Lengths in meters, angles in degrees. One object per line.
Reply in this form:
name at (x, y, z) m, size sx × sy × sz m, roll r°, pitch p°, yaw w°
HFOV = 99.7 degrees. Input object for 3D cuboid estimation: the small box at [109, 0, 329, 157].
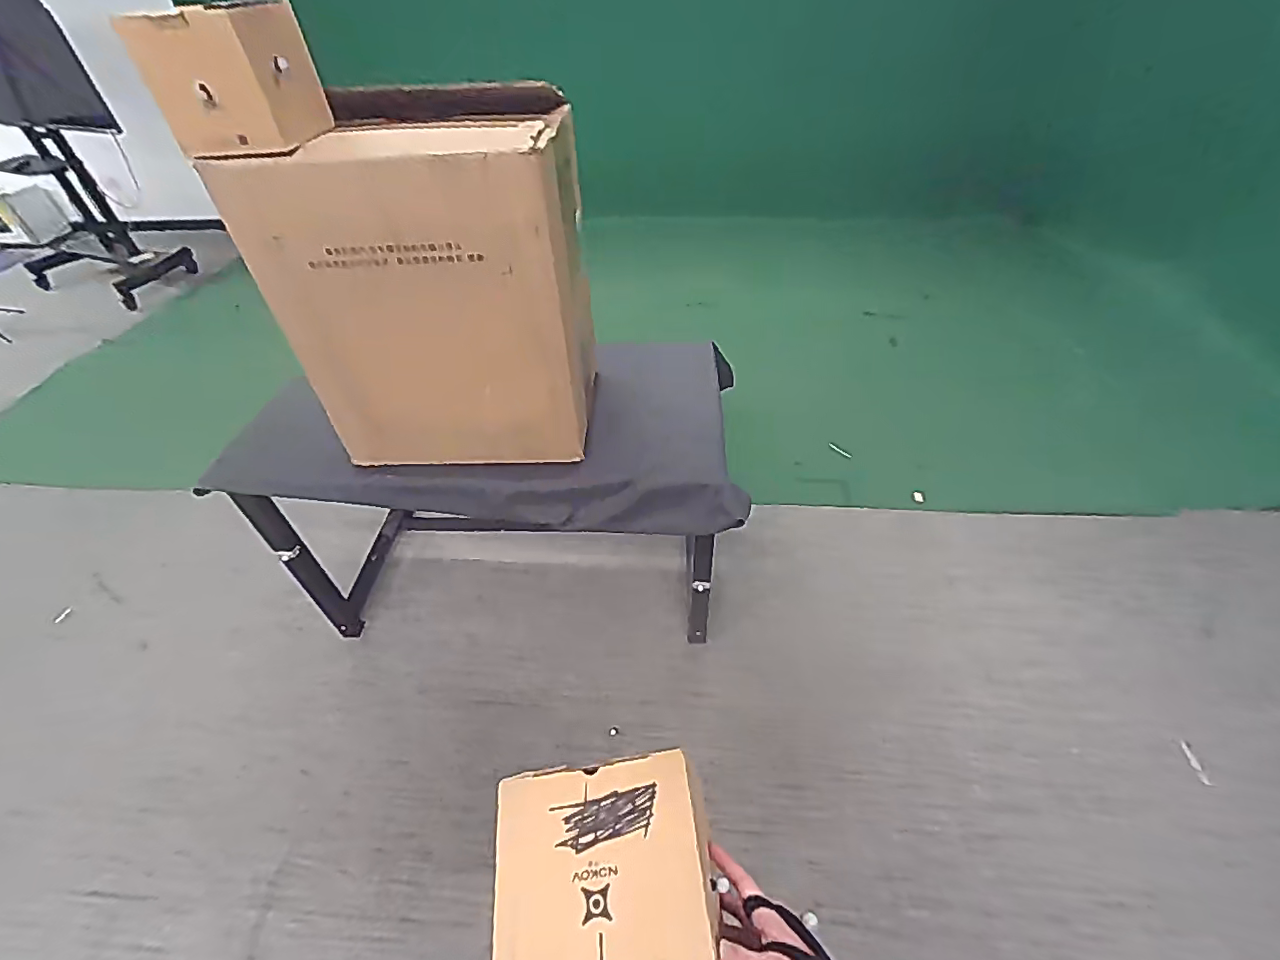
small box at (-0.613, -0.604, 0.821) m, size 0.168 × 0.176 × 0.179 m, roll -2°, pitch 45°, yaw 4°
